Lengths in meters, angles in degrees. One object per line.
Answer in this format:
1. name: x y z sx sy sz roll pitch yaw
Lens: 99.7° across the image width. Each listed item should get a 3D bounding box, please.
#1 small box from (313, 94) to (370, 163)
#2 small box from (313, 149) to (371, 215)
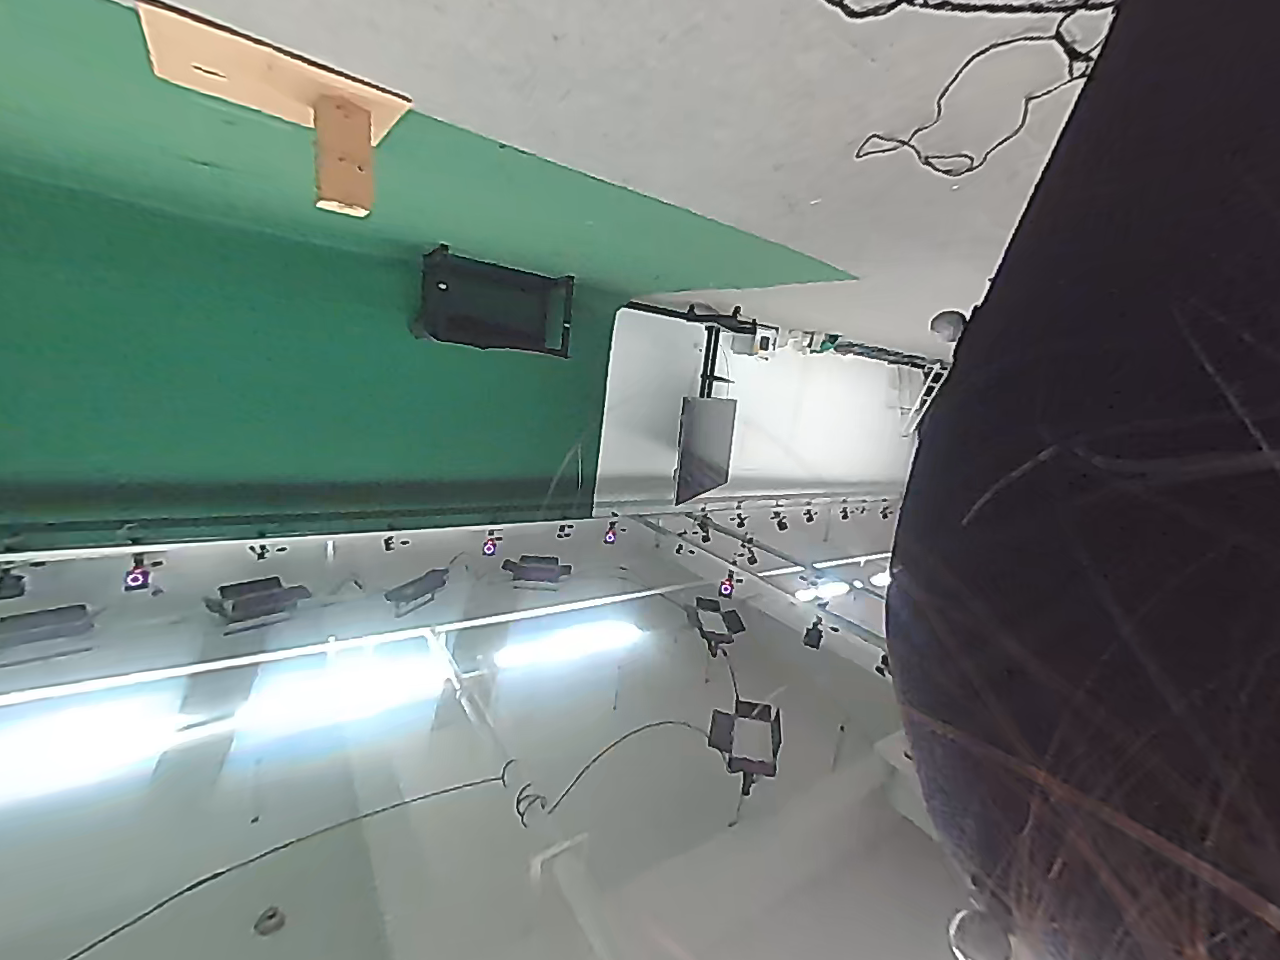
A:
1. small box: -1.094 -1.268 1.977 0.168 0.176 0.179 -3 -165 -36
2. small box: -1.112 -1.108 2.012 0.168 0.176 0.179 -3 -164 -38
